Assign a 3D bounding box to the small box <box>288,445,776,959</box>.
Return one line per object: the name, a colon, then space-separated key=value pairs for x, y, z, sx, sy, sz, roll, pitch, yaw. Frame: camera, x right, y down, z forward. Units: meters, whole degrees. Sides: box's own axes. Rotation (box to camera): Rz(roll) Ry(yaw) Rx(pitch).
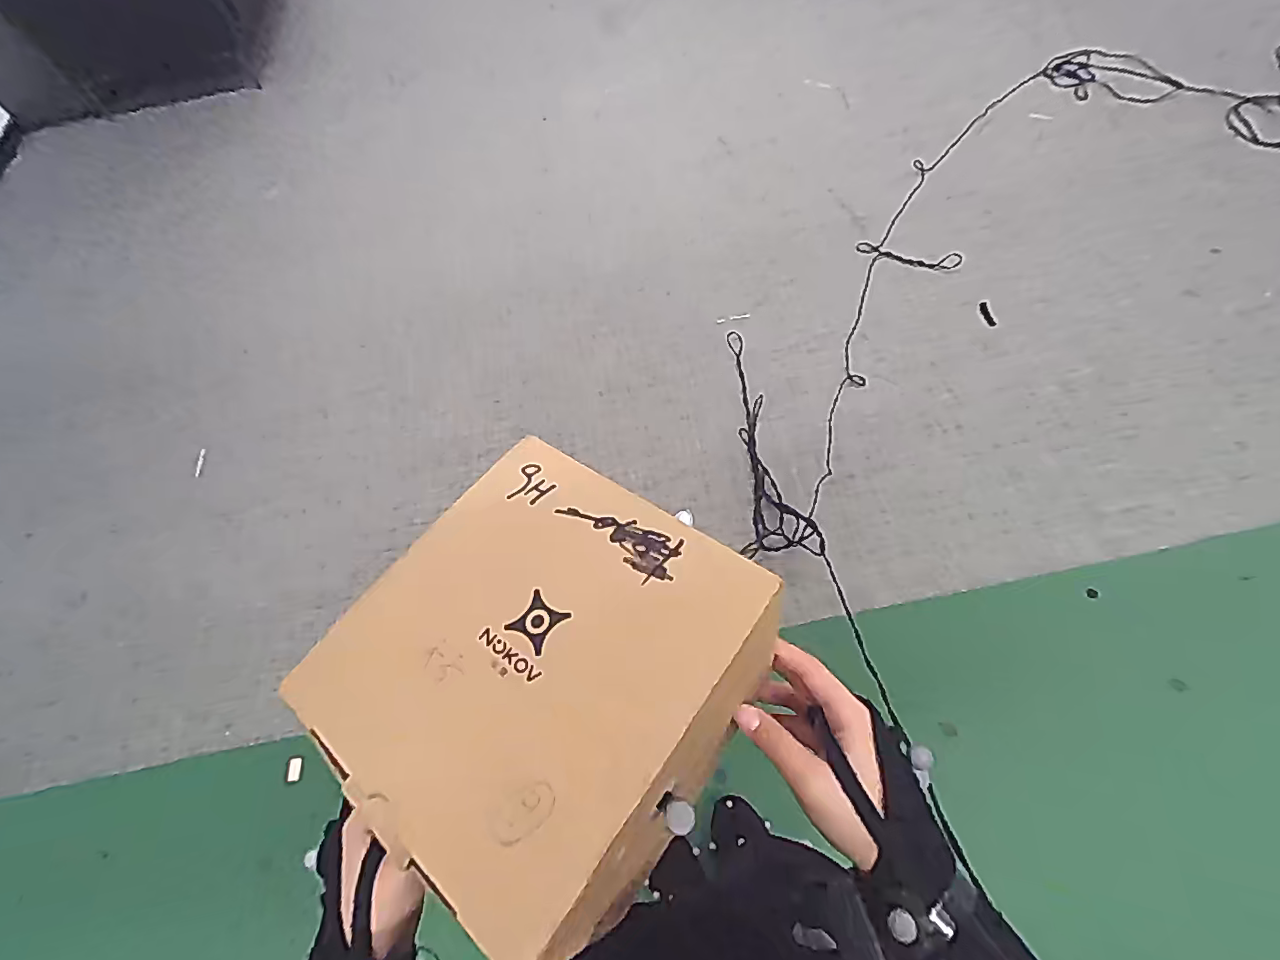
small box: x=-0.037 y=0.119 z=0.308 sx=0.168 sy=0.176 sz=0.179 roll=29 pitch=66 yaw=27
